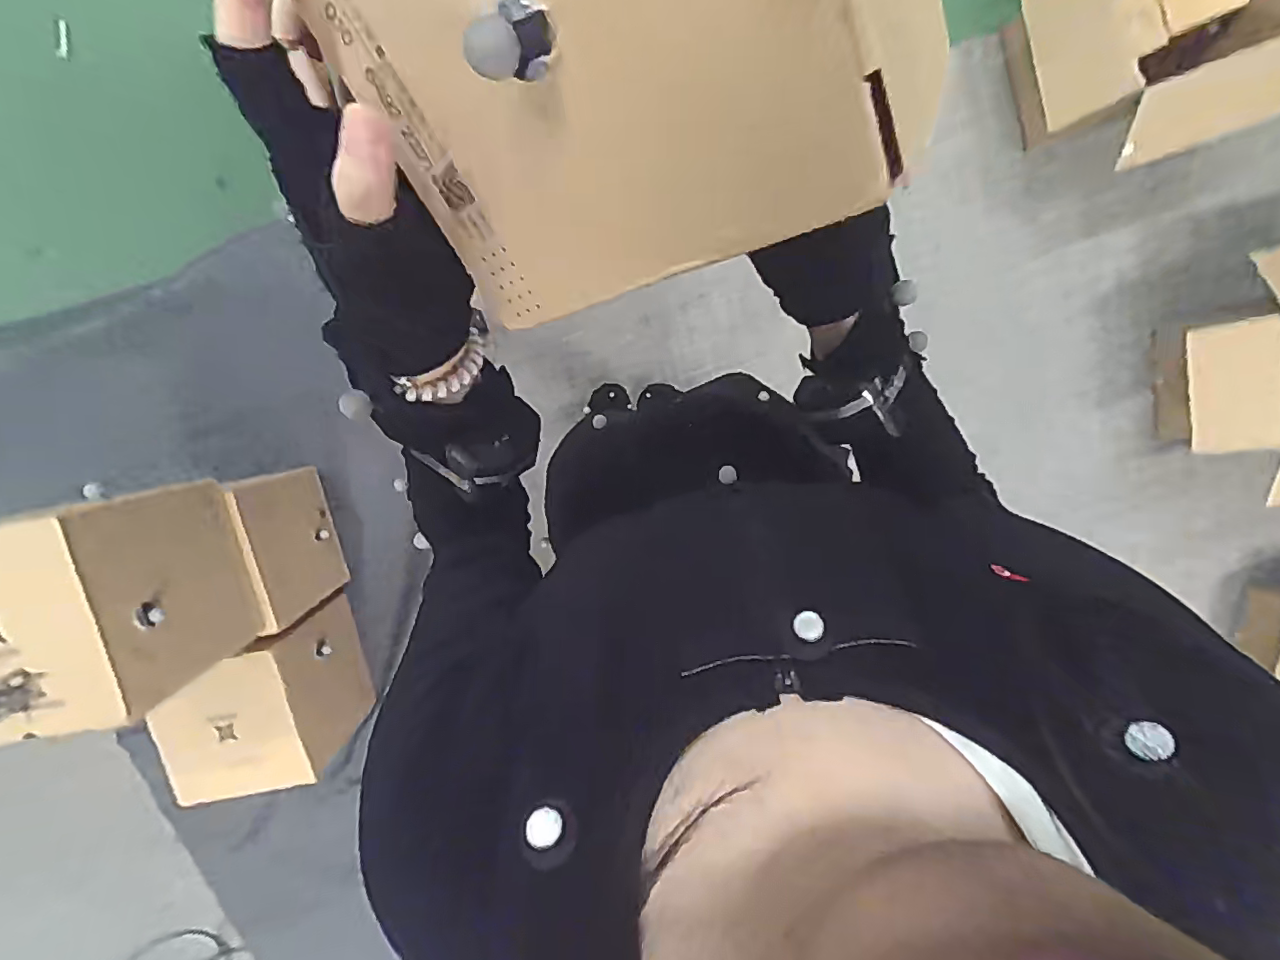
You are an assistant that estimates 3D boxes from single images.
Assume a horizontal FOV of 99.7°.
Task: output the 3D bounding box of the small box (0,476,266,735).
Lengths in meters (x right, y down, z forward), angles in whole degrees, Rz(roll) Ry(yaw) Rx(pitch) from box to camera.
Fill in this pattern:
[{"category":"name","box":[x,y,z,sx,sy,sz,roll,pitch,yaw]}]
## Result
[{"category":"small box","box":[-0.498,0.105,0.508,0.168,0.176,0.179,-10,100,0]}]
